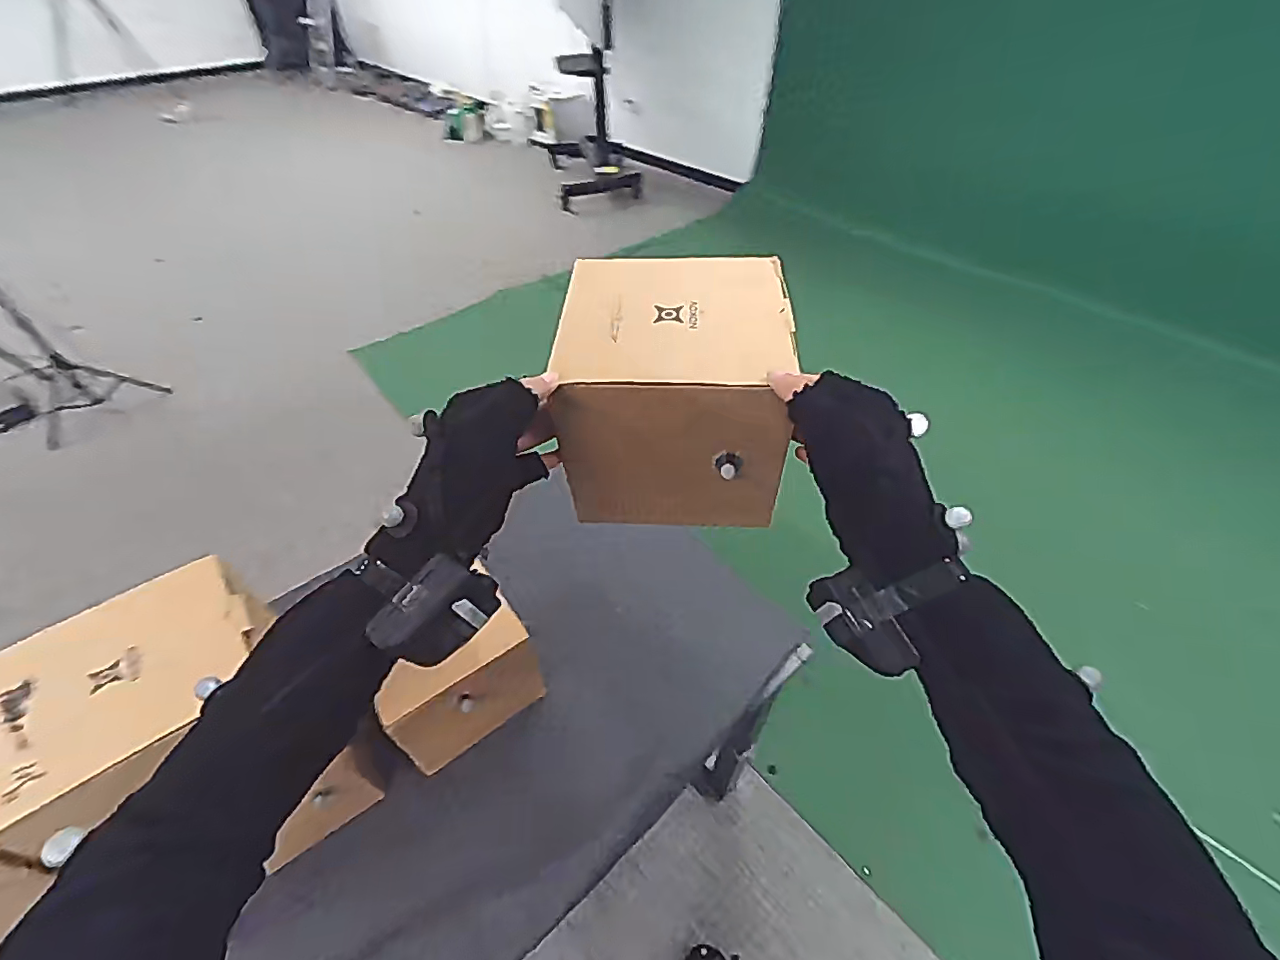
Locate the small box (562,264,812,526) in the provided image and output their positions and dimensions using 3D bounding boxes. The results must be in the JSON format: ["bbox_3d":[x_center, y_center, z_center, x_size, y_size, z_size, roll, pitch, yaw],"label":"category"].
[{"bbox_3d":[0.041,-0.072,0.484,0.179,0.176,0.168,2,49,5],"label":"small box"}]
